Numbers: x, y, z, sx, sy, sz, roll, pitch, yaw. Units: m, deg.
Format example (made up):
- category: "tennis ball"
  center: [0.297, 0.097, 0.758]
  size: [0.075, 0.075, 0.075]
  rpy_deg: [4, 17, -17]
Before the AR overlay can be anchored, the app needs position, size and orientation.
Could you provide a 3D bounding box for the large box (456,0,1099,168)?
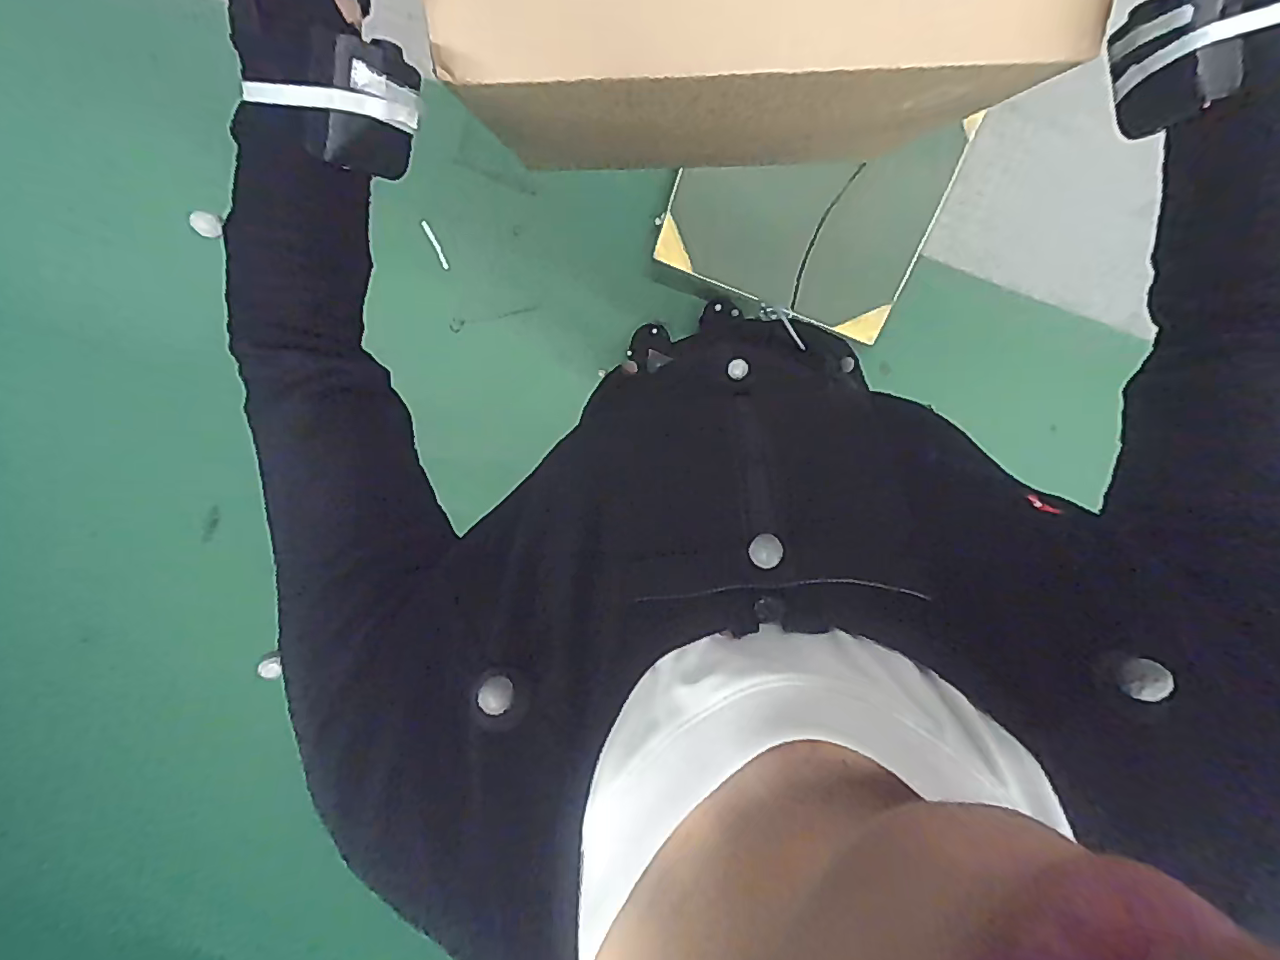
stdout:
- category: "large box"
  center: [0.074, -0.456, 0.426]
  size: [0.408, 0.320, 0.320]
  rpy_deg: [-3, 112, -2]
